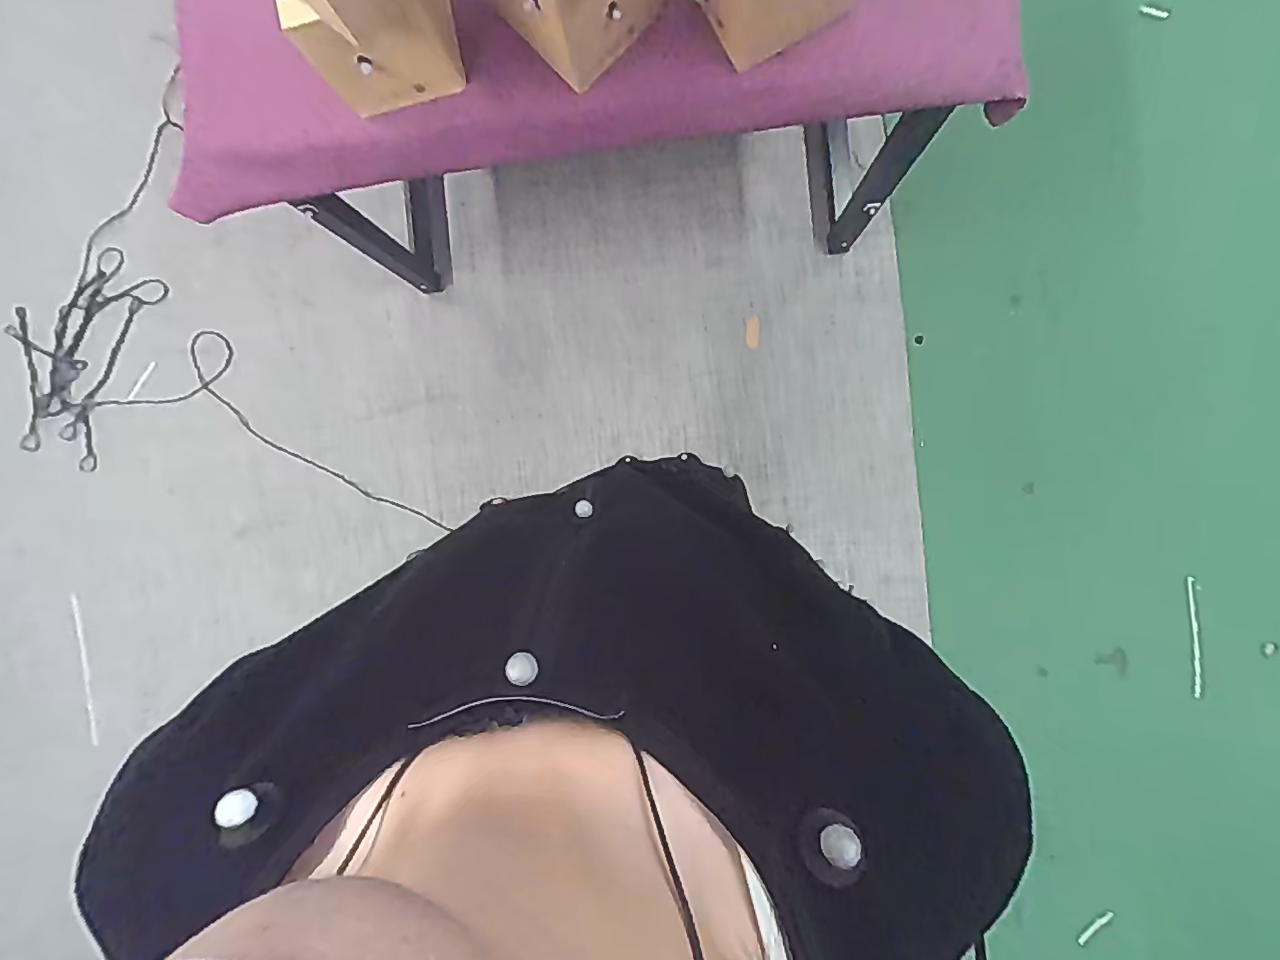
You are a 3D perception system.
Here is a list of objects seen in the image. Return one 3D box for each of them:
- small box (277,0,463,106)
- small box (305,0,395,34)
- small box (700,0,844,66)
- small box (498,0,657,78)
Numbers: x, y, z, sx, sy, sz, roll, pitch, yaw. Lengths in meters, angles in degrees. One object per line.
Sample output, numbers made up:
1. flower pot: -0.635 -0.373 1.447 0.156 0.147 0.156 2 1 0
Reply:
1. small box: -0.353 -0.635 0.711 0.168 0.176 0.179 -12 89 4
2. small box: -0.336 -0.613 0.546 0.179 0.176 0.168 39 93 3
3. small box: 0.169 -0.680 0.669 0.179 0.176 0.168 -27 87 5
4. small box: -0.091 -0.668 0.688 0.168 0.176 0.179 -43 87 3
